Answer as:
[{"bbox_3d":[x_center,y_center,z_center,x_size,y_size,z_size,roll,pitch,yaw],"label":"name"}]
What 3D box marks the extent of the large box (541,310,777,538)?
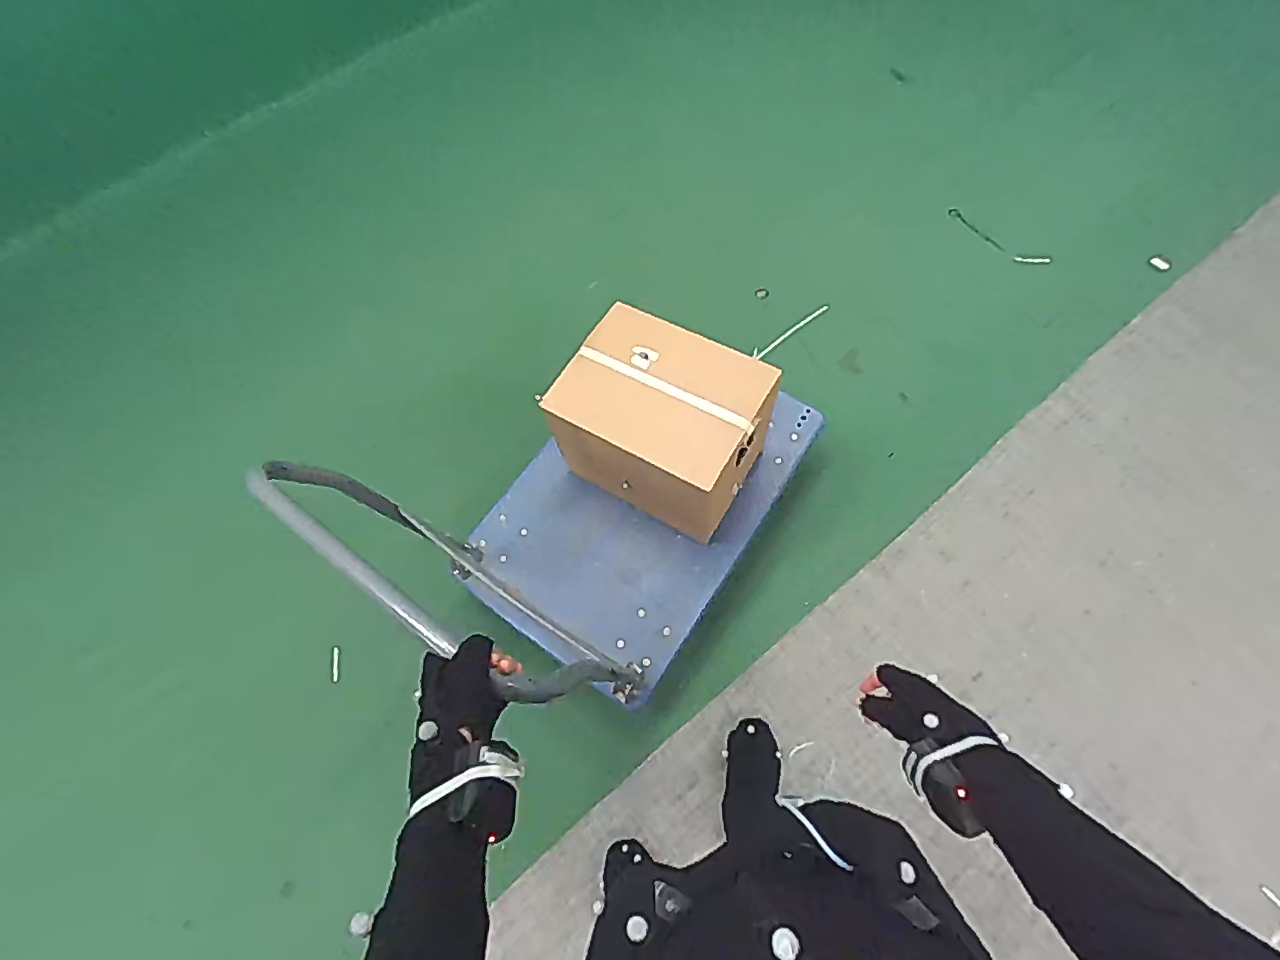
[{"bbox_3d":[0.055,-0.120,1.249,0.408,0.320,0.320,27,70,18],"label":"large box"}]
